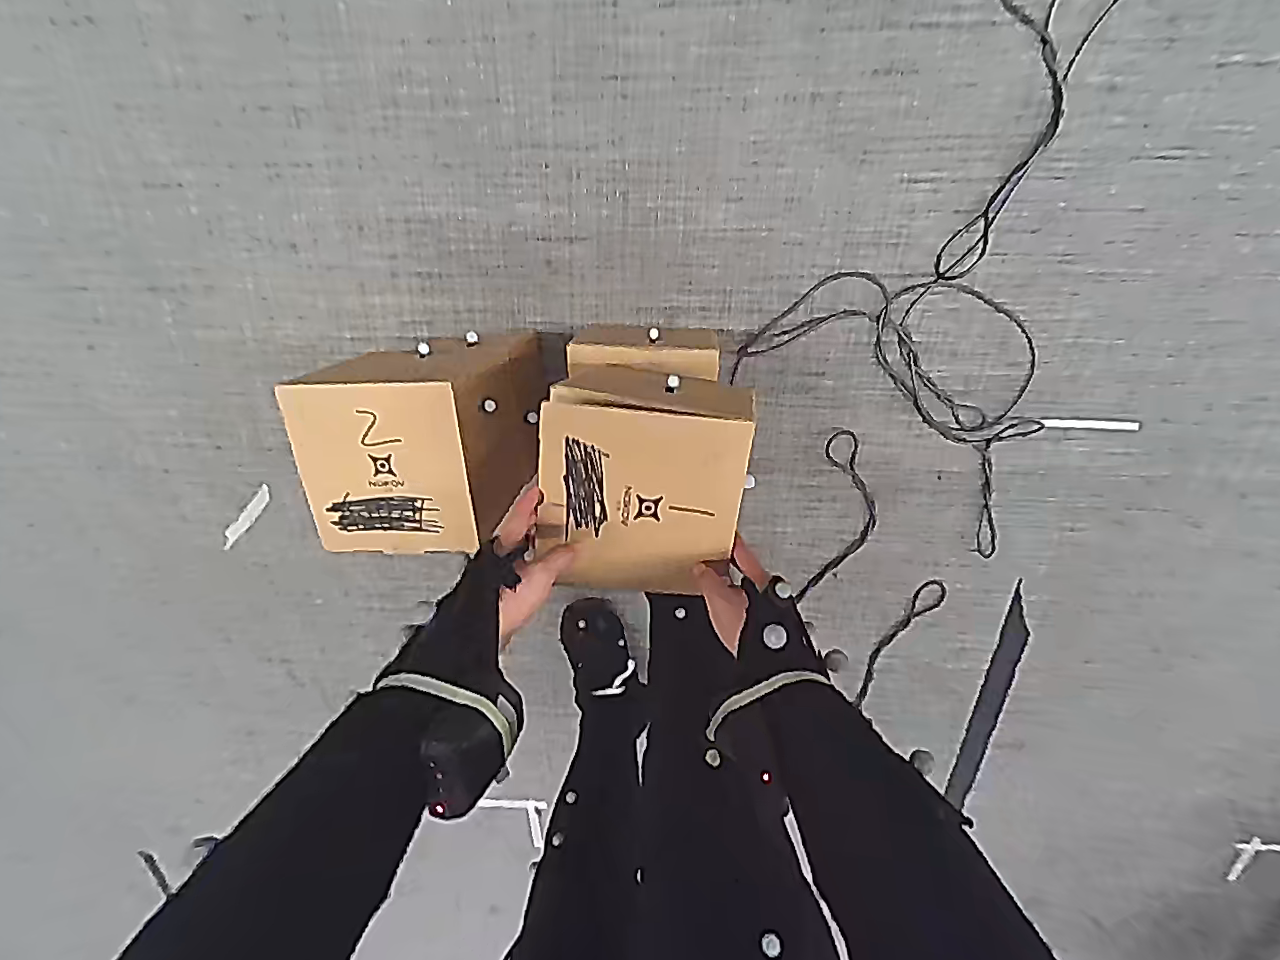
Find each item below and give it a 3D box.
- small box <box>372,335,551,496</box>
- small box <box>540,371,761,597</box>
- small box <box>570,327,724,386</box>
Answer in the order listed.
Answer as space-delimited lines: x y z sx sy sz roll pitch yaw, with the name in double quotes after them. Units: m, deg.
-0.222 -0.096 0.731 0.168 0.176 0.179 -5 113 6 "small box"
0.017 -0.011 0.541 0.179 0.176 0.168 11 110 8 "small box"
0.010 -0.104 0.706 0.179 0.176 0.168 3 113 3 "small box"
